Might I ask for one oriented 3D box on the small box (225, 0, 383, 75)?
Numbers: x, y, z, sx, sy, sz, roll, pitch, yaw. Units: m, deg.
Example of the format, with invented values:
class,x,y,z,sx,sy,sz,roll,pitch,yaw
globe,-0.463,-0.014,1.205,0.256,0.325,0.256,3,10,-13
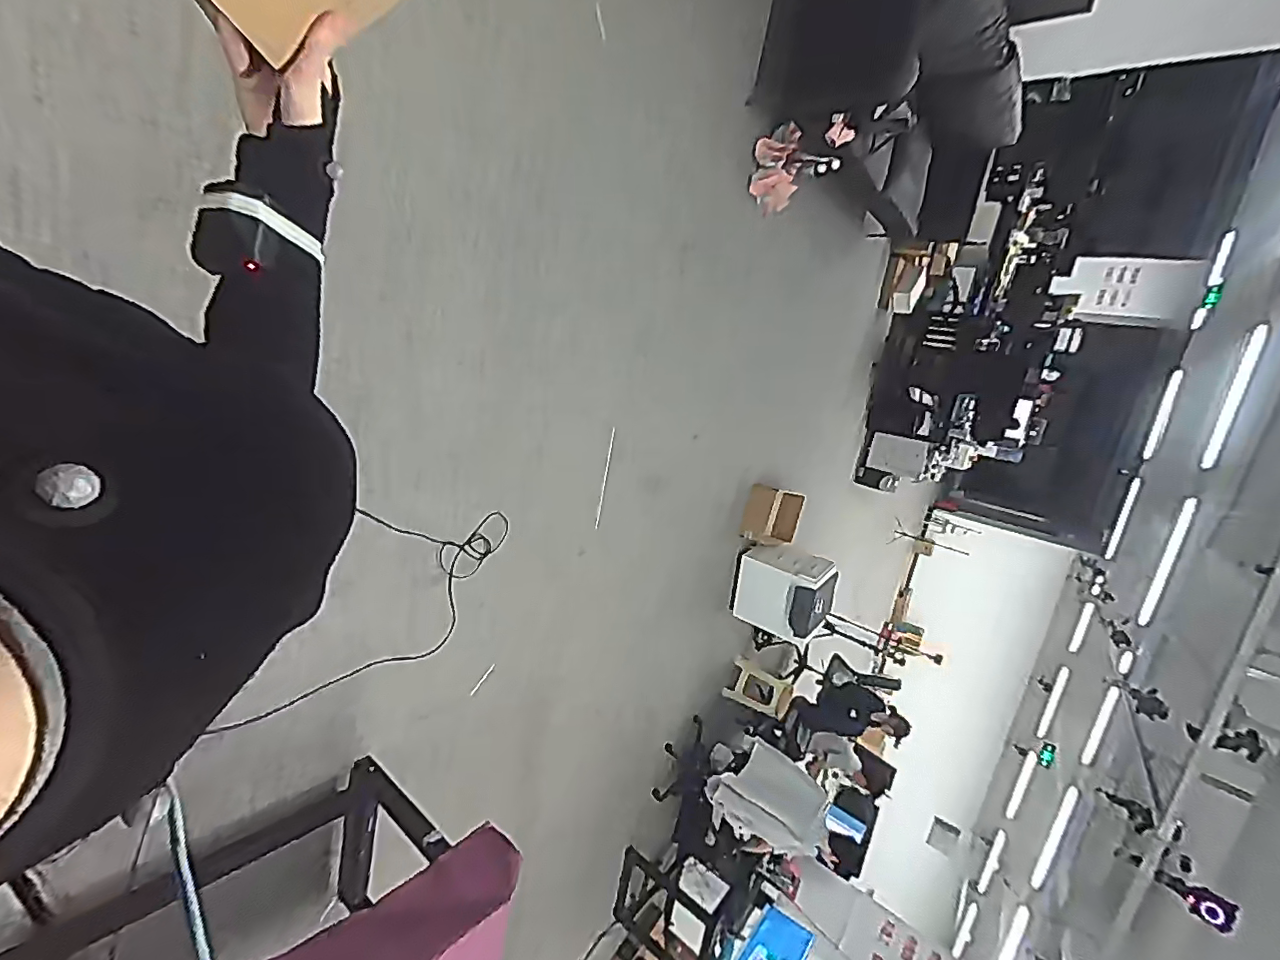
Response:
class,x,y,z,sx,sy,sz,roll,pitch,yaw
small box,-0.258,-0.424,0.341,0.168,0.179,0.176,-40,110,1
